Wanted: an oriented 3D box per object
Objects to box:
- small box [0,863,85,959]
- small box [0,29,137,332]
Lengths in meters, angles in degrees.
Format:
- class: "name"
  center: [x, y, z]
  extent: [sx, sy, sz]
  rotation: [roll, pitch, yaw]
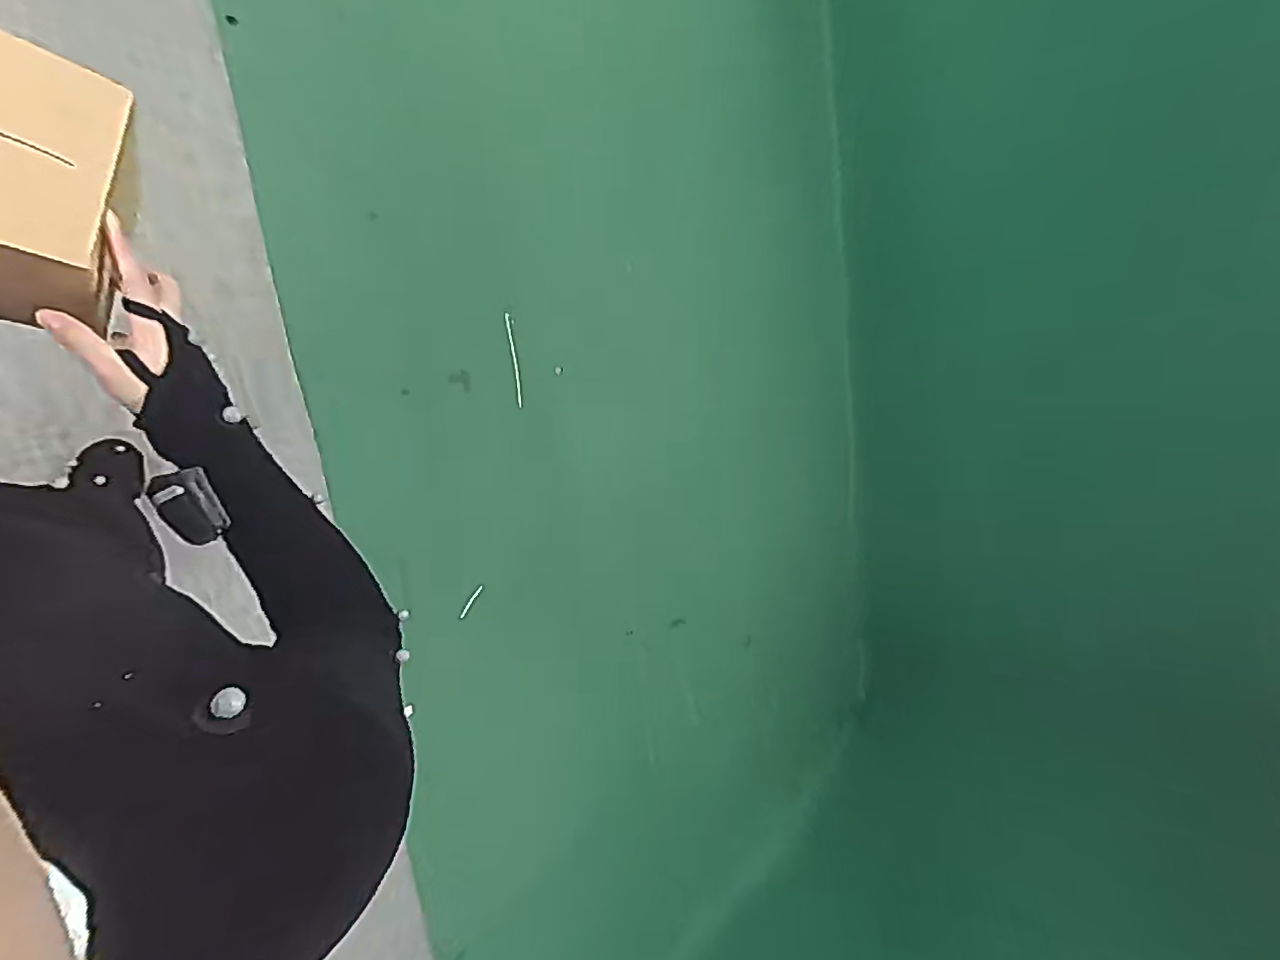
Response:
- class: "small box"
  center: [-1.183, 0.876, 1.029]
  extent: [0.168, 0.176, 0.179]
  rotation: [1, 93, -43]
- class: "small box"
  center: [-0.531, -0.238, 0.425]
  extent: [0.179, 0.176, 0.168]
  rotation: [12, 74, -40]
